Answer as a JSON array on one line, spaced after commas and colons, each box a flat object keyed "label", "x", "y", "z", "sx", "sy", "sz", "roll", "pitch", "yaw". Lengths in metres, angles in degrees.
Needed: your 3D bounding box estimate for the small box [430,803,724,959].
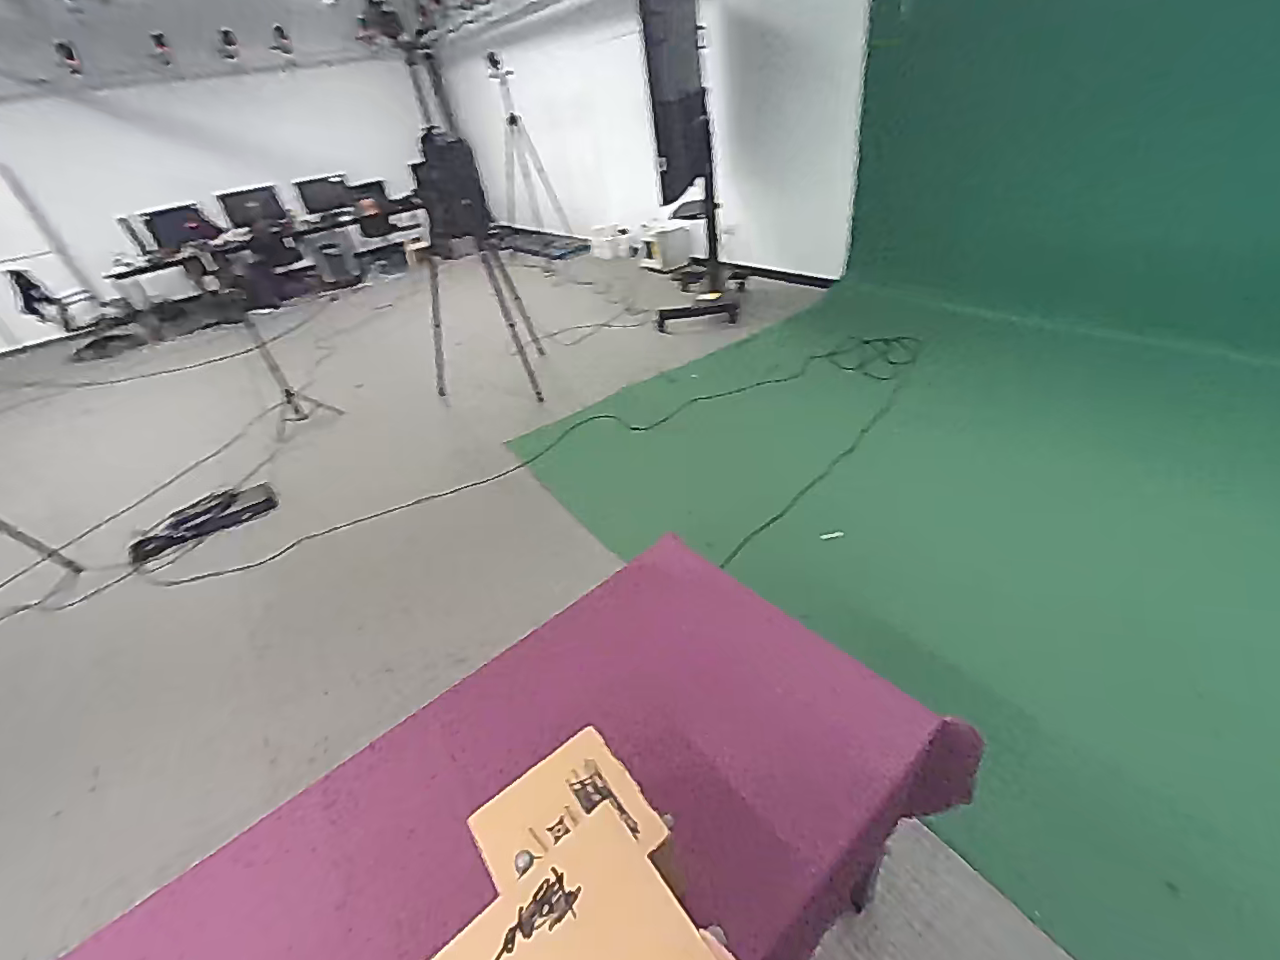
[{"label": "small box", "x": -0.025, "y": 0.350, "z": 0.353, "sx": 0.168, "sy": 0.176, "sz": 0.179, "roll": -33, "pitch": 59, "yaw": -21}]
